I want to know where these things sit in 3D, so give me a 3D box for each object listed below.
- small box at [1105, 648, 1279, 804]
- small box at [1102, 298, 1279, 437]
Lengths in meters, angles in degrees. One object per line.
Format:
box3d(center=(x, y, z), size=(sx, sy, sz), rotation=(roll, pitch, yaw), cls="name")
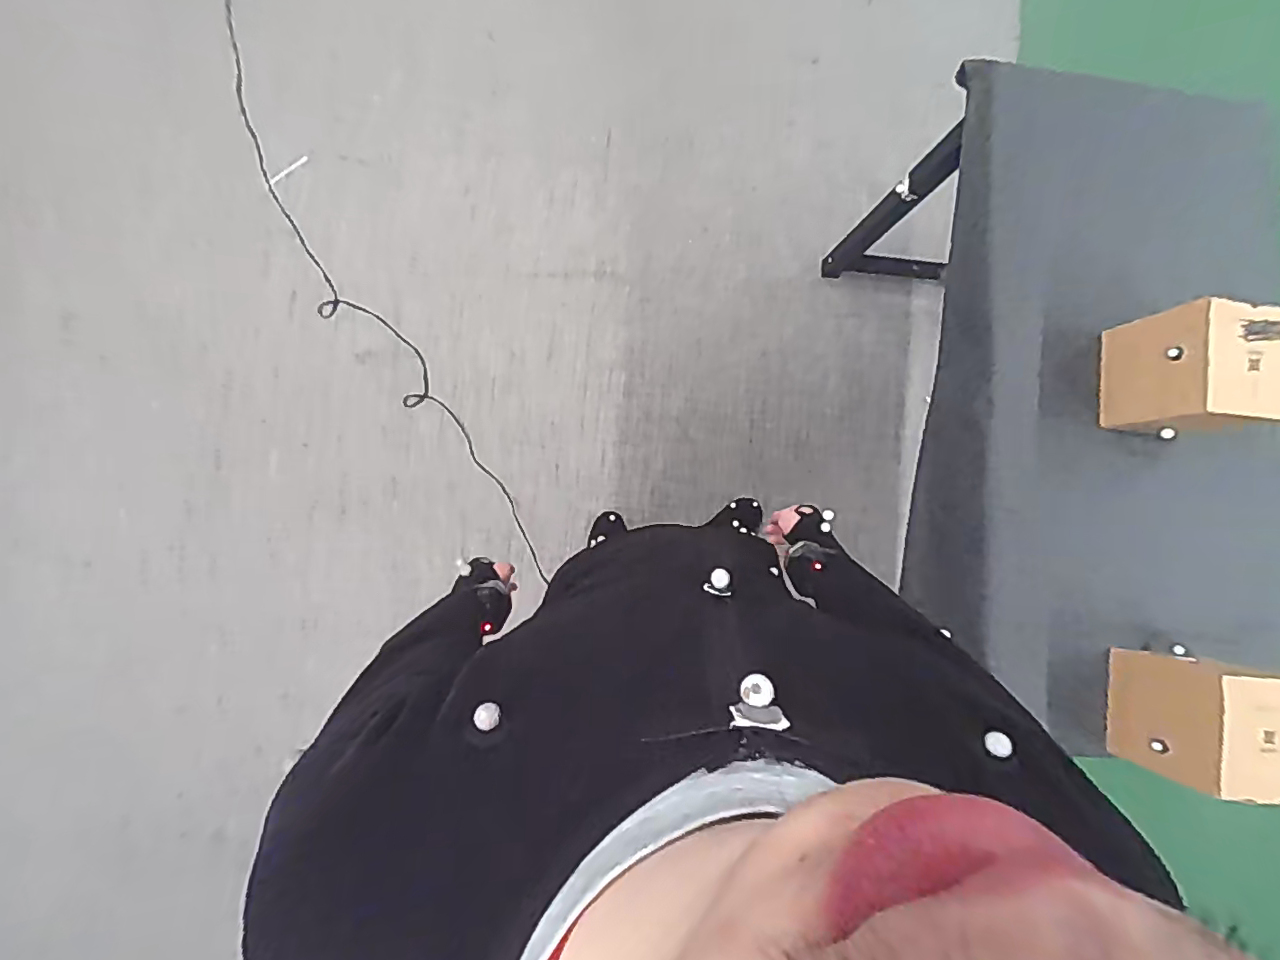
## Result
box3d(center=(0.881, 0.378, 0.851), size=(0.168, 0.176, 0.179), rotation=(6, 85, -8), cls="small box")
box3d(center=(0.903, -0.172, 0.880), size=(0.168, 0.176, 0.179), rotation=(5, 88, -6), cls="small box")
